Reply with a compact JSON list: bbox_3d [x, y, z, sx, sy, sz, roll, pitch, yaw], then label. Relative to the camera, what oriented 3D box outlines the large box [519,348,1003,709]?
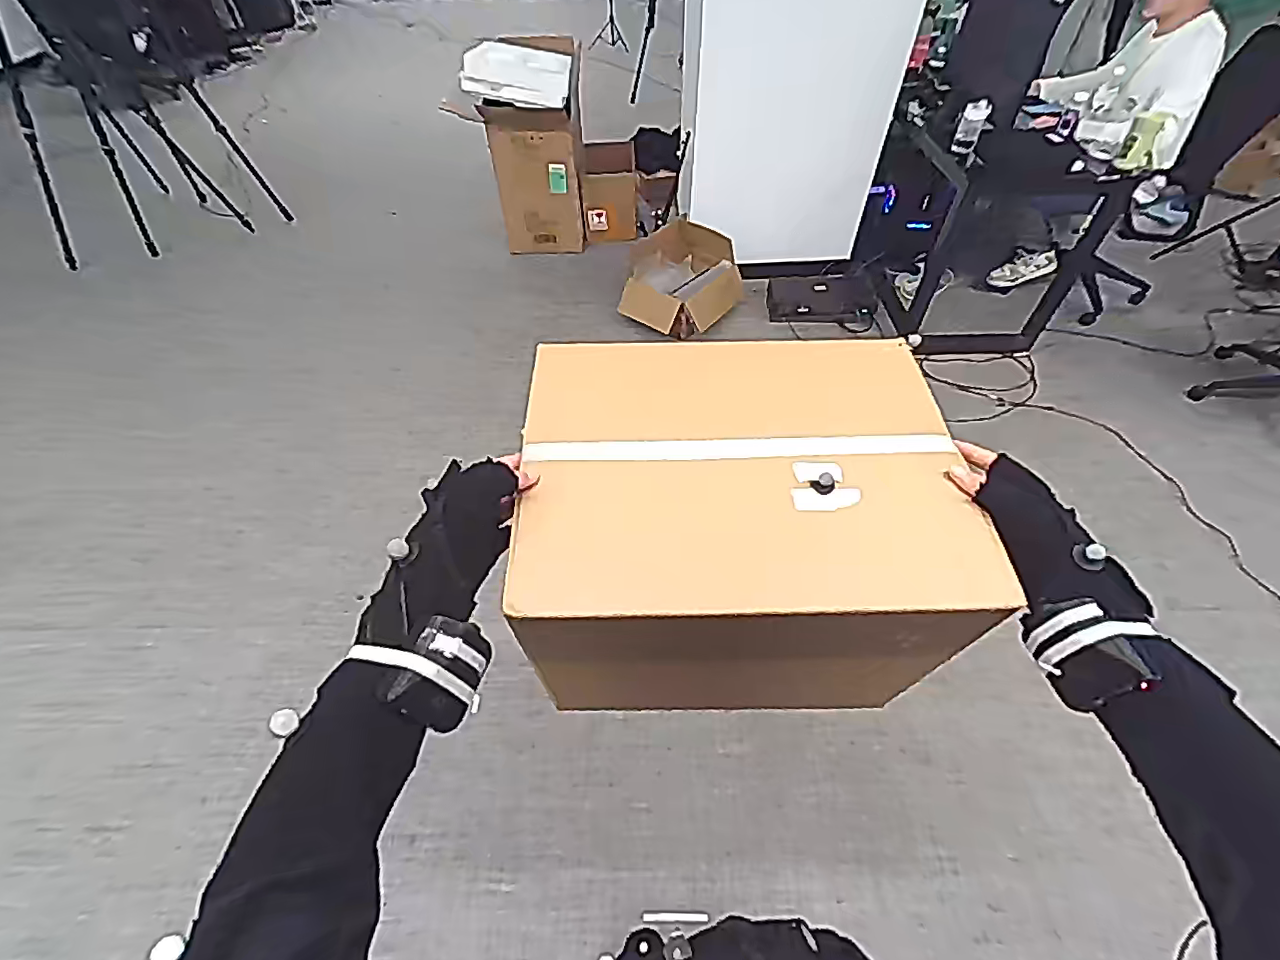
[{"bbox_3d":[0.092,0.067,0.640,0.408,0.320,0.320,-1,55,-1],"label":"large box"}]
